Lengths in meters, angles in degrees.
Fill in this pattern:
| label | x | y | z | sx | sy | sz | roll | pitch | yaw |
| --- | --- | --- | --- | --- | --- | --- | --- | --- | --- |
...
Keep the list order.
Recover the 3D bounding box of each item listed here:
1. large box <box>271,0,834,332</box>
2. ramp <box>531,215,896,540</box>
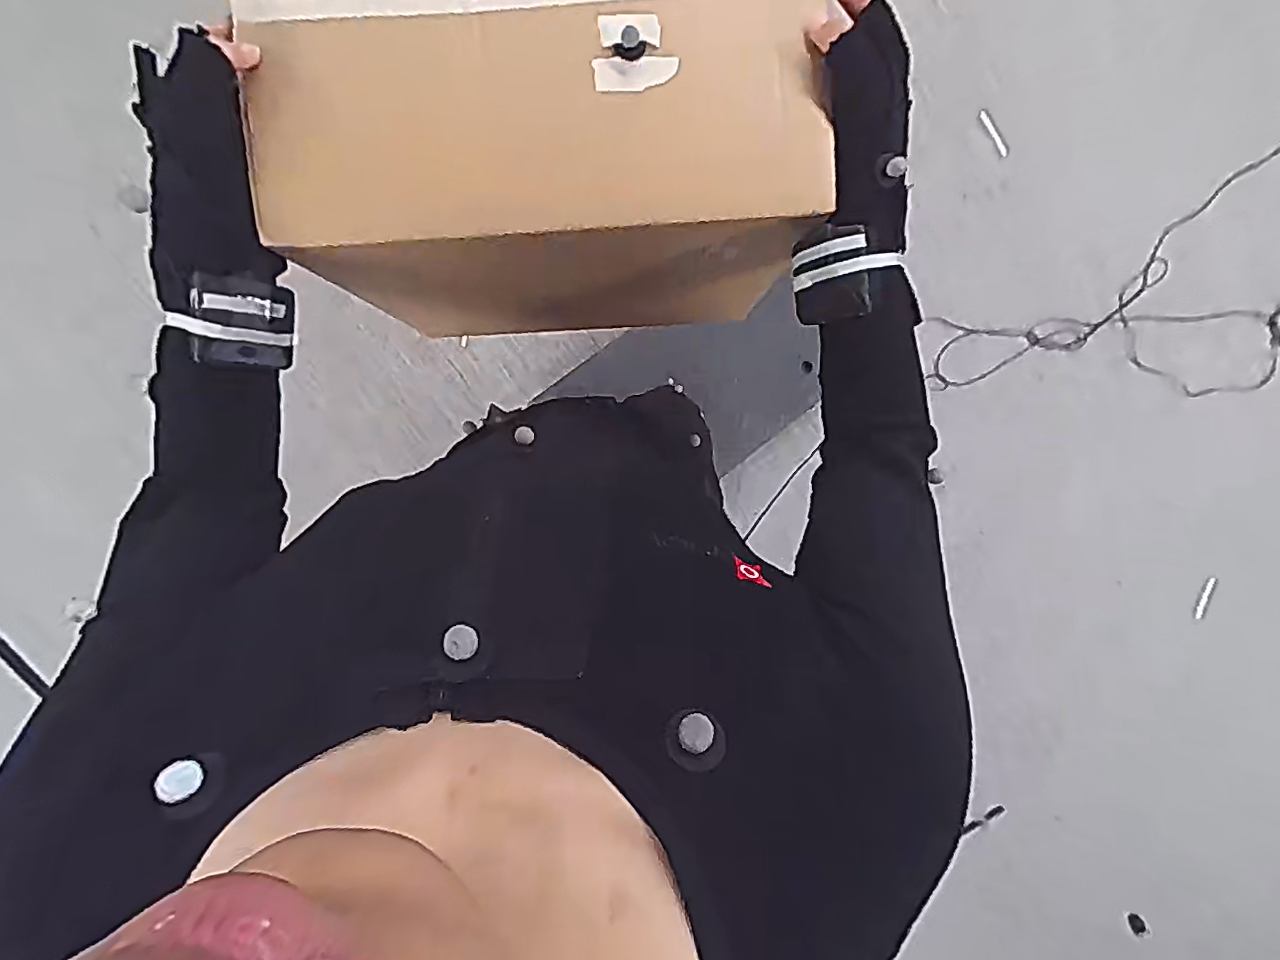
| label | x | y | z | sx | sy | sz | roll | pitch | yaw |
| --- | --- | --- | --- | --- | --- | --- | --- | --- | --- |
| large box | -0.069 | -0.345 | 0.535 | 0.408 | 0.320 | 0.320 | -3 | 93 | -1 |
| ramp | 0.233 | -0.324 | 1.535 | 0.991 | 0.206 | 0.509 | -38 | 96 | 4 |
